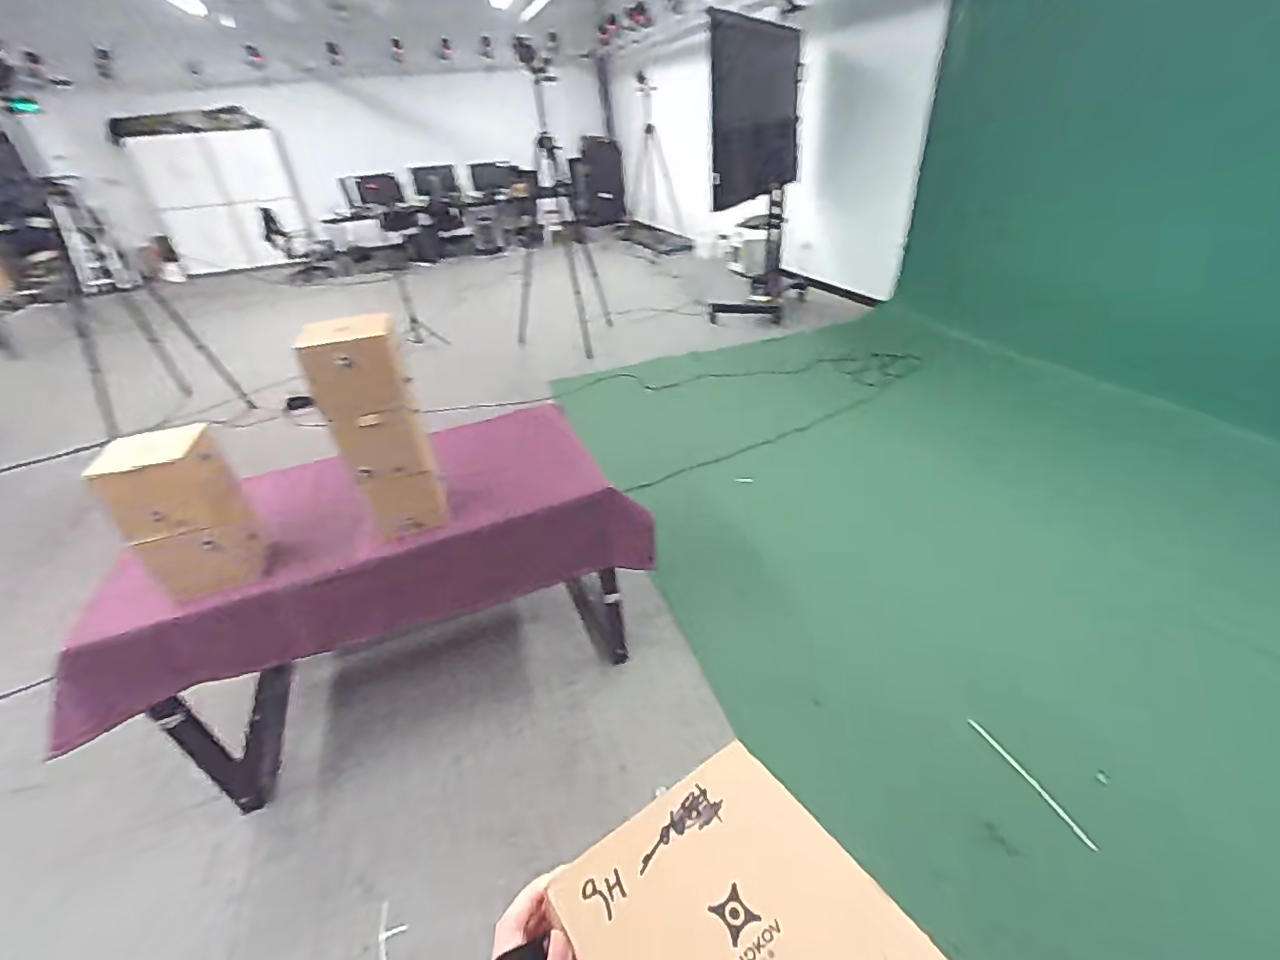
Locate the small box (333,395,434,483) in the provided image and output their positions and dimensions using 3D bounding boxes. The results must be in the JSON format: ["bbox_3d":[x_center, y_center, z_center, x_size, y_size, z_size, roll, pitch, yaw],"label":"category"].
[{"bbox_3d":[-0.598,-0.106,1.285,0.168,0.176,0.179,-14,33,-12],"label":"small box"}]

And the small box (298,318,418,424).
[{"bbox_3d":[-0.609,-0.239,1.191,0.179,0.176,0.168,-13,35,-11],"label":"small box"}]

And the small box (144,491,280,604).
[{"bbox_3d":[-0.969,0.155,1.247,0.179,0.176,0.168,-15,34,-14],"label":"small box"}]

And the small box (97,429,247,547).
[{"bbox_3d":[-0.988,0.015,1.165,0.168,0.176,0.179,-15,35,-14],"label":"small box"}]
